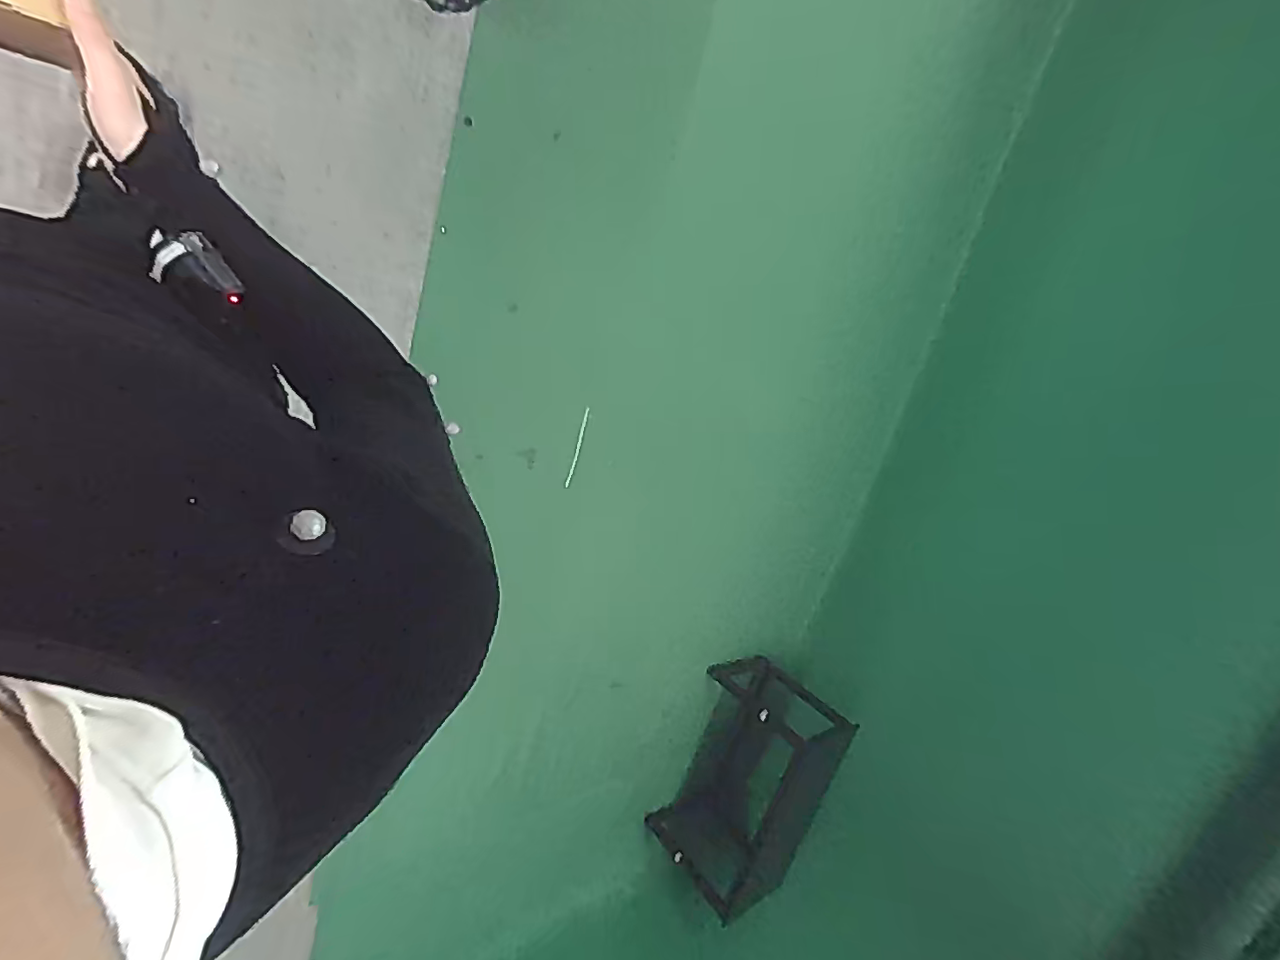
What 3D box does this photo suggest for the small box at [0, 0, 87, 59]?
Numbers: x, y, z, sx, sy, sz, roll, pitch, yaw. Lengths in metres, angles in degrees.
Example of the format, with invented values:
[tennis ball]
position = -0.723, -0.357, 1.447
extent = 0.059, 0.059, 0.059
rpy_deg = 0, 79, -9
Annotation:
[small box]
position = -0.489, -0.422, 0.353
extent = 0.168, 0.176, 0.179
rpy_deg = -6, 115, -44
